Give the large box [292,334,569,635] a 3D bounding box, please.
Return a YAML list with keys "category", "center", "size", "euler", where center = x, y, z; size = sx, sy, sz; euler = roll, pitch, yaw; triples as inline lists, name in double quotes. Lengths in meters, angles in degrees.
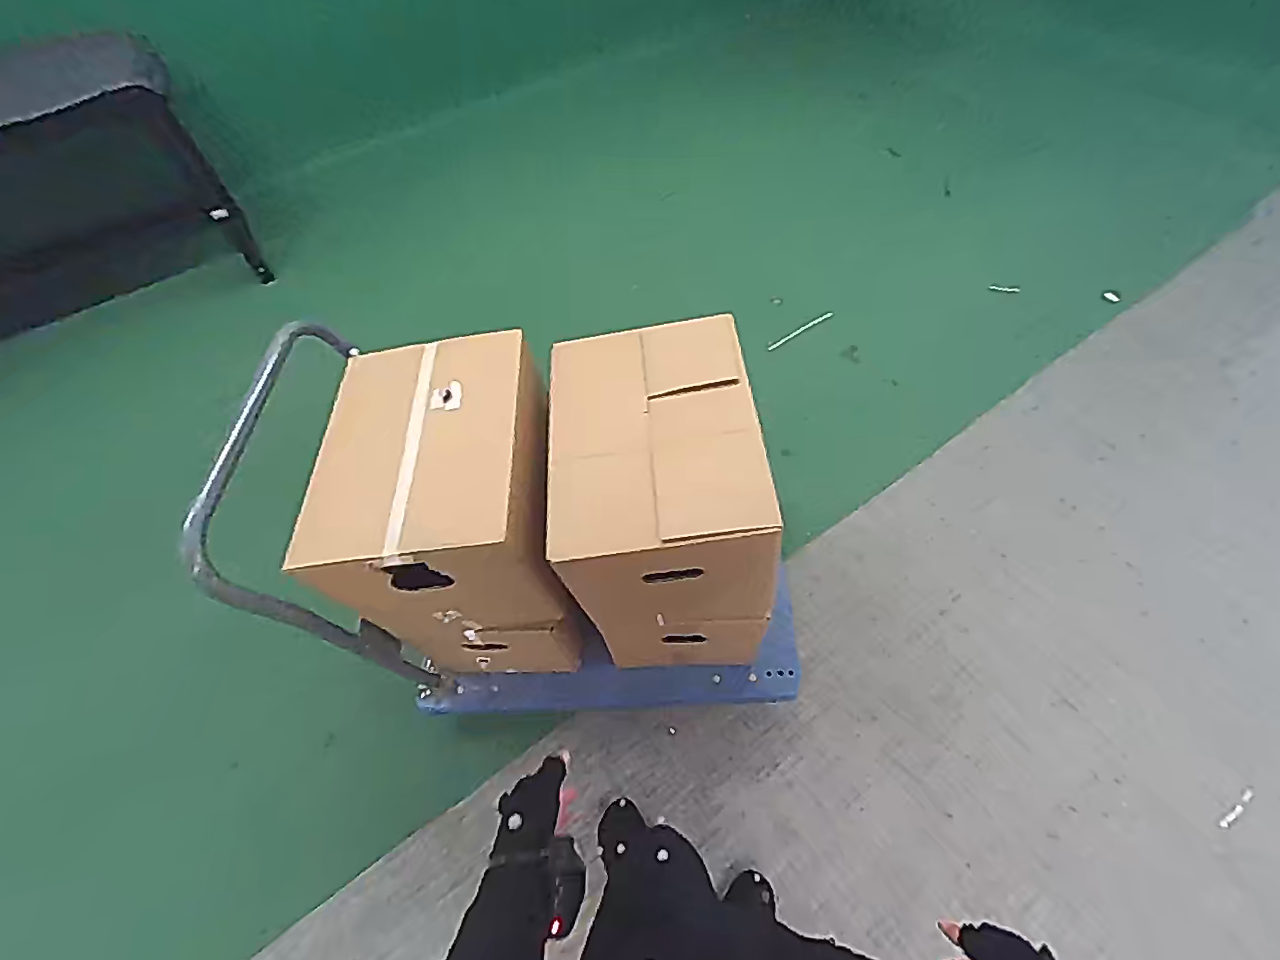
- category: "large box"
  center: [-0.314, 0.017, 0.947]
  size: [0.320, 0.320, 0.408]
  euler: [-7, 56, 5]
